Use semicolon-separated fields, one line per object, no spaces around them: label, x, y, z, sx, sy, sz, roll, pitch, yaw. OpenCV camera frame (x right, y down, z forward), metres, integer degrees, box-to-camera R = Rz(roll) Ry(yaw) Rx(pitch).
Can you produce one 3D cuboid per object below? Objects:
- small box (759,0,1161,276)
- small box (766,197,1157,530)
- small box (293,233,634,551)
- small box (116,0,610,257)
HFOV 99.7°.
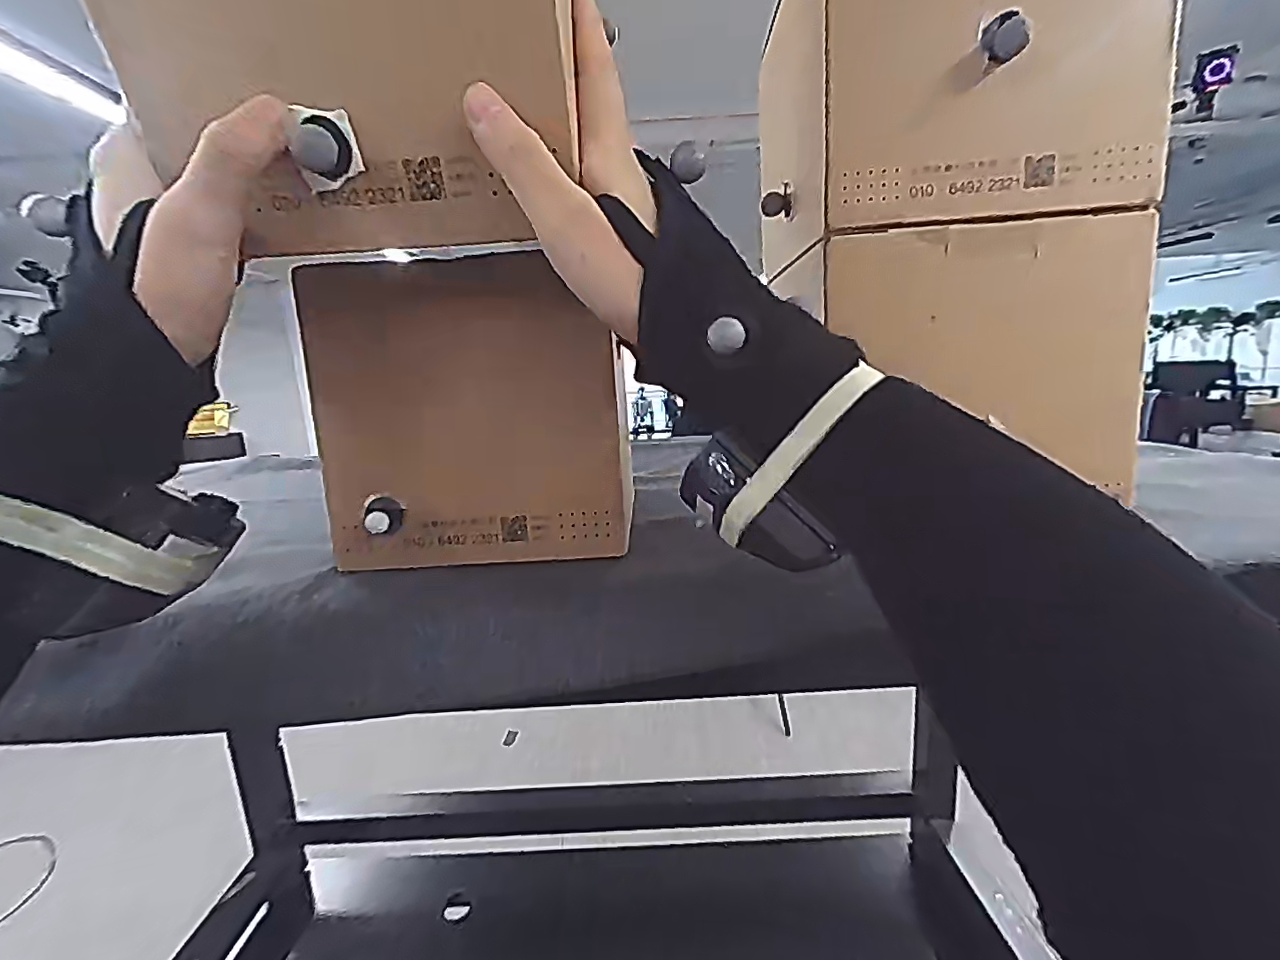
small box;0.174;-0.229;0.338;0.168;0.176;0.179;-3;11;3
small box;0.183;-0.068;0.367;0.168;0.176;0.179;-4;10;2
small box;-0.091;-0.051;0.371;0.168;0.176;0.179;-3;9;1
small box;-0.106;-0.206;0.253;0.168;0.176;0.179;-5;30;1
